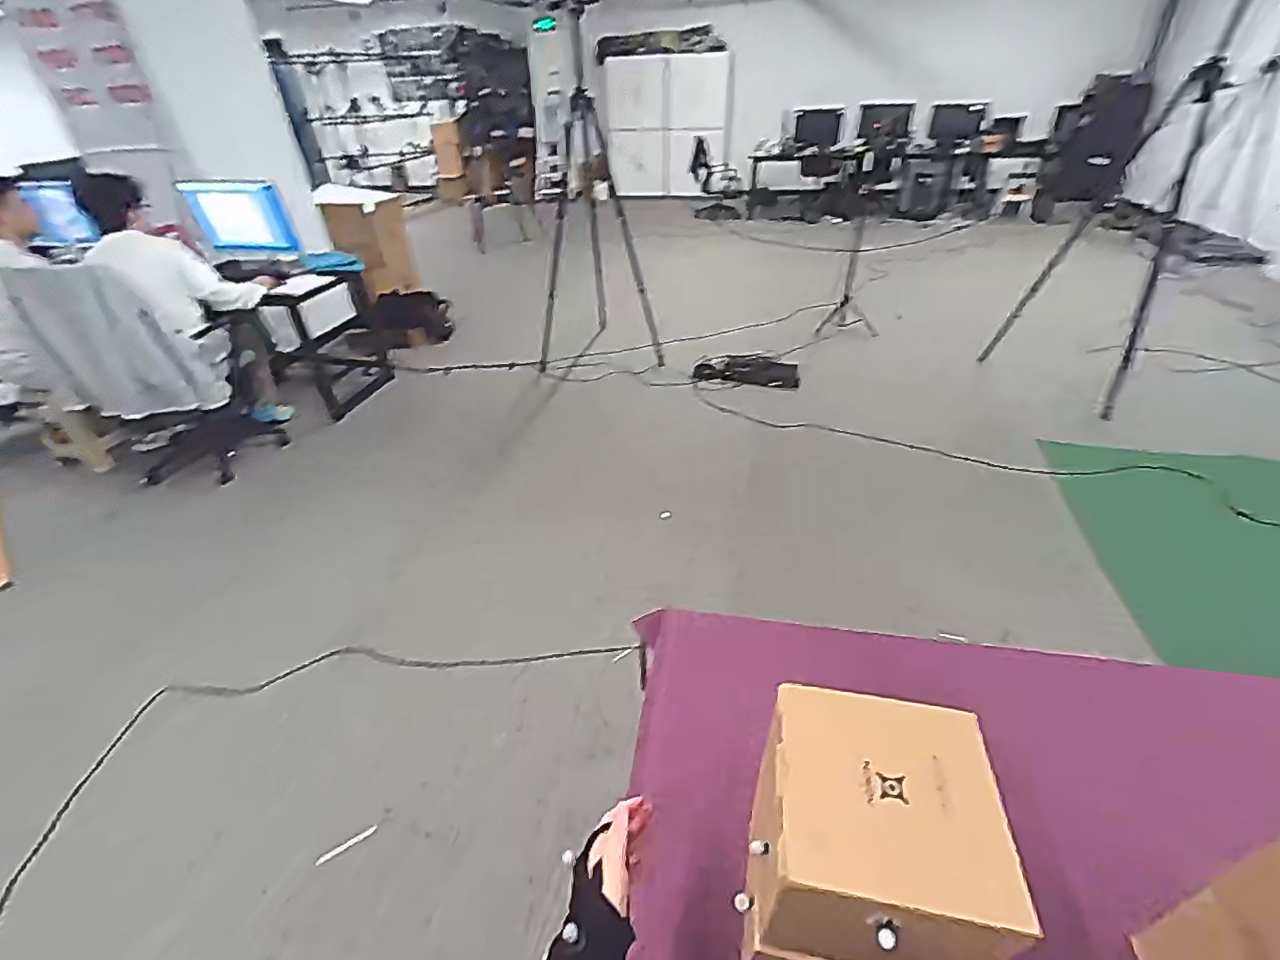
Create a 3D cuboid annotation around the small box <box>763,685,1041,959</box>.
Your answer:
[{"bbox_3d":[0.207,0.316,0.487,0.179,0.176,0.168,6,38,11],"label":"small box"}]

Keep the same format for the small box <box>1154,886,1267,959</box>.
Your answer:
[{"bbox_3d":[0.619,0.504,0.480,0.179,0.176,0.168,5,37,11],"label":"small box"}]

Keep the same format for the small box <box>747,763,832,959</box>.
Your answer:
[{"bbox_3d":[0.208,0.448,0.584,0.168,0.176,0.179,6,37,12],"label":"small box"}]
